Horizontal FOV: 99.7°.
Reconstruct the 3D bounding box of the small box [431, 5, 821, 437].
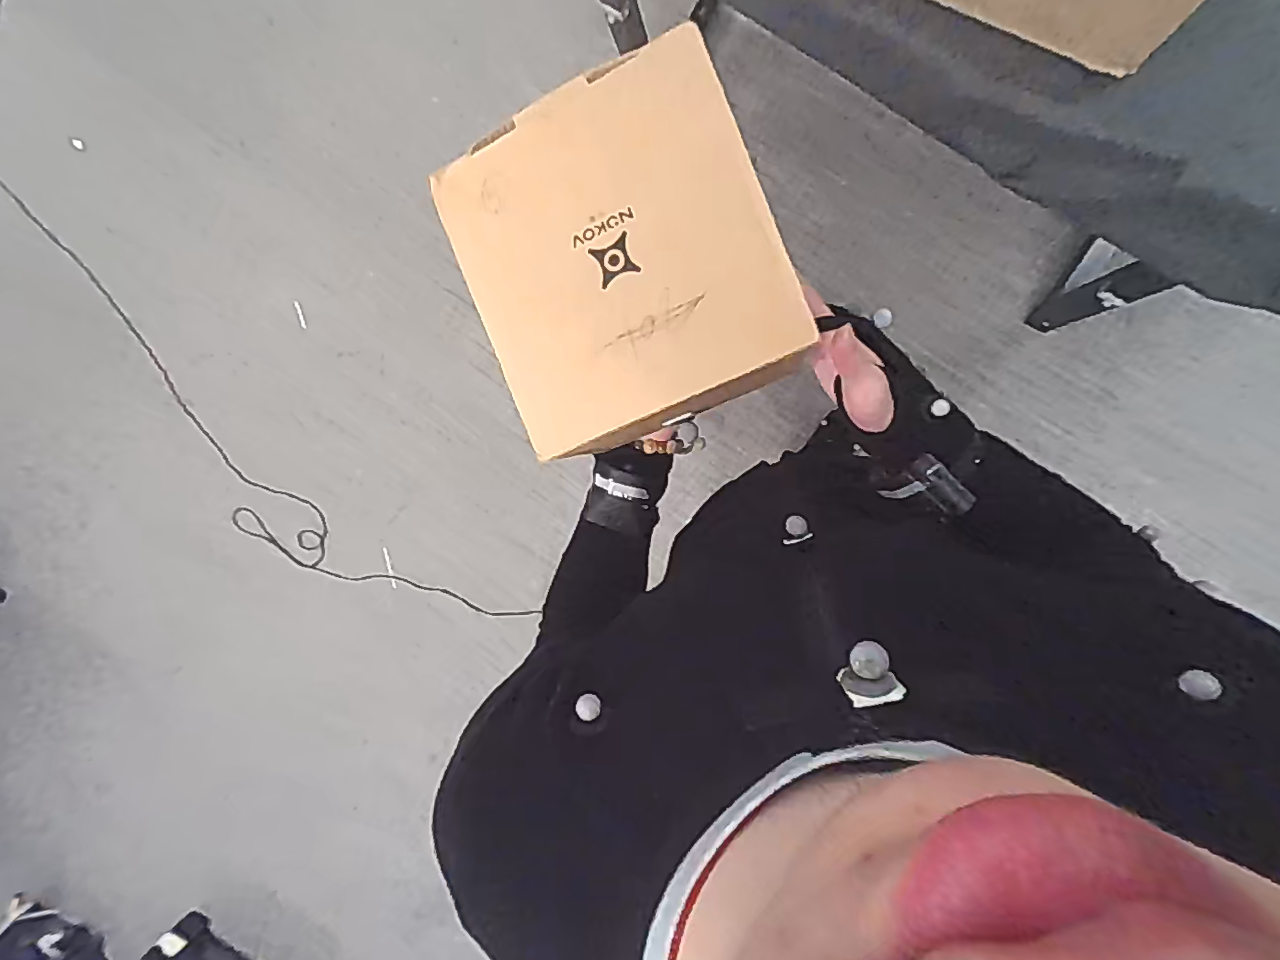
[{"bbox_3d":[0.002,-0.137,0.364,0.168,0.176,0.179,-22,91,13],"label":"small box"}]
